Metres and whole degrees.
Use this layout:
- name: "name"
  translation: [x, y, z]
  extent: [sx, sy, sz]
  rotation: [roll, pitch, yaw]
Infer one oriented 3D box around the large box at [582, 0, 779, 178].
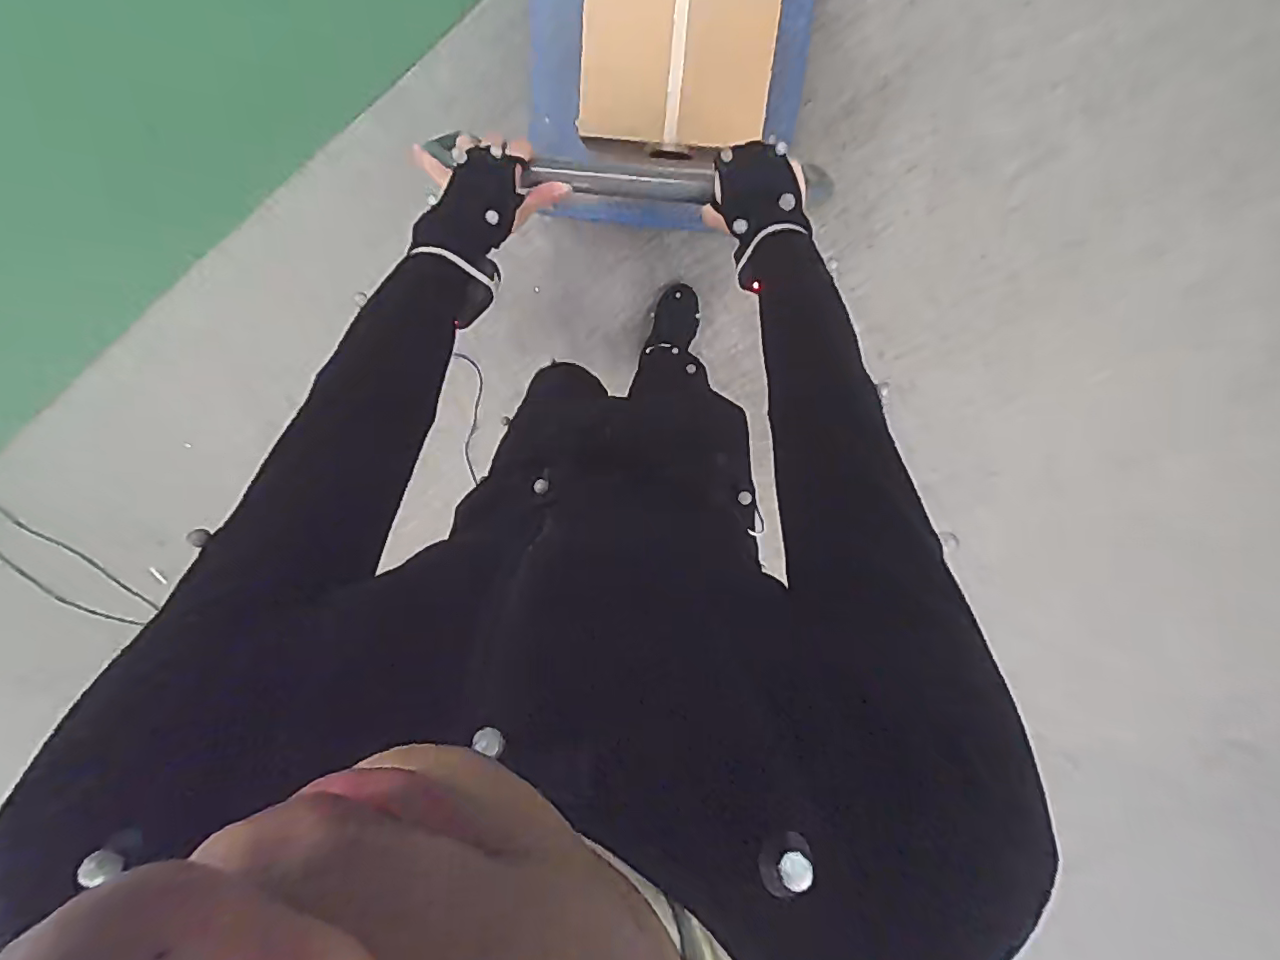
- name: "large box"
  translation: [0.080, -0.822, 1.008]
  extent: [0.320, 0.320, 0.408]
  rotation: [7, 110, 2]
